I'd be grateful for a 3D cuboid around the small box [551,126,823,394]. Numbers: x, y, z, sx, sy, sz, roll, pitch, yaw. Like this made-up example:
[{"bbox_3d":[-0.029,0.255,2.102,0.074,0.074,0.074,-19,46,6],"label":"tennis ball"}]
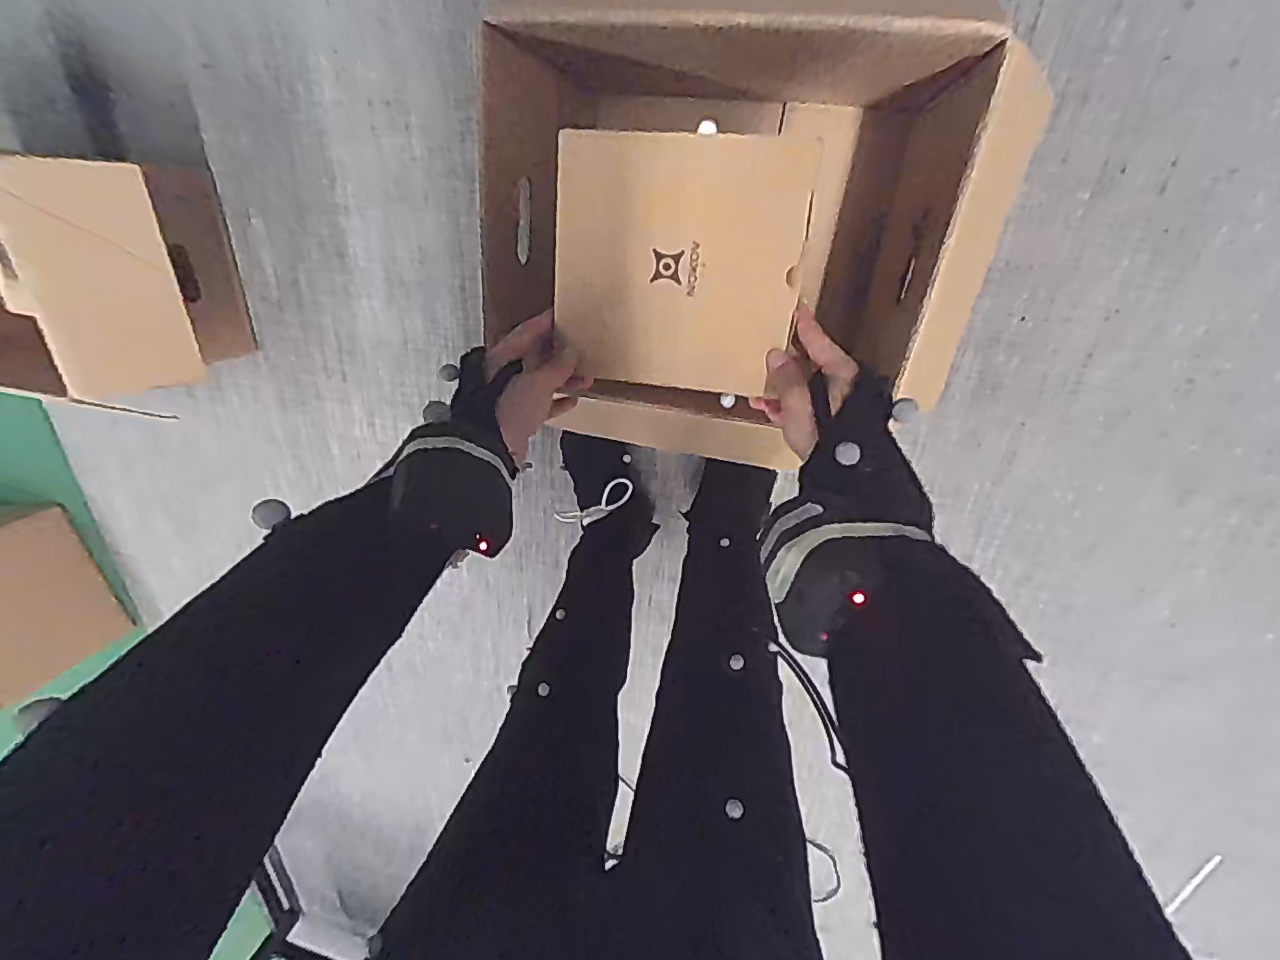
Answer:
[{"bbox_3d":[0.040,-0.172,0.450,0.179,0.176,0.168,8,109,10],"label":"small box"}]
